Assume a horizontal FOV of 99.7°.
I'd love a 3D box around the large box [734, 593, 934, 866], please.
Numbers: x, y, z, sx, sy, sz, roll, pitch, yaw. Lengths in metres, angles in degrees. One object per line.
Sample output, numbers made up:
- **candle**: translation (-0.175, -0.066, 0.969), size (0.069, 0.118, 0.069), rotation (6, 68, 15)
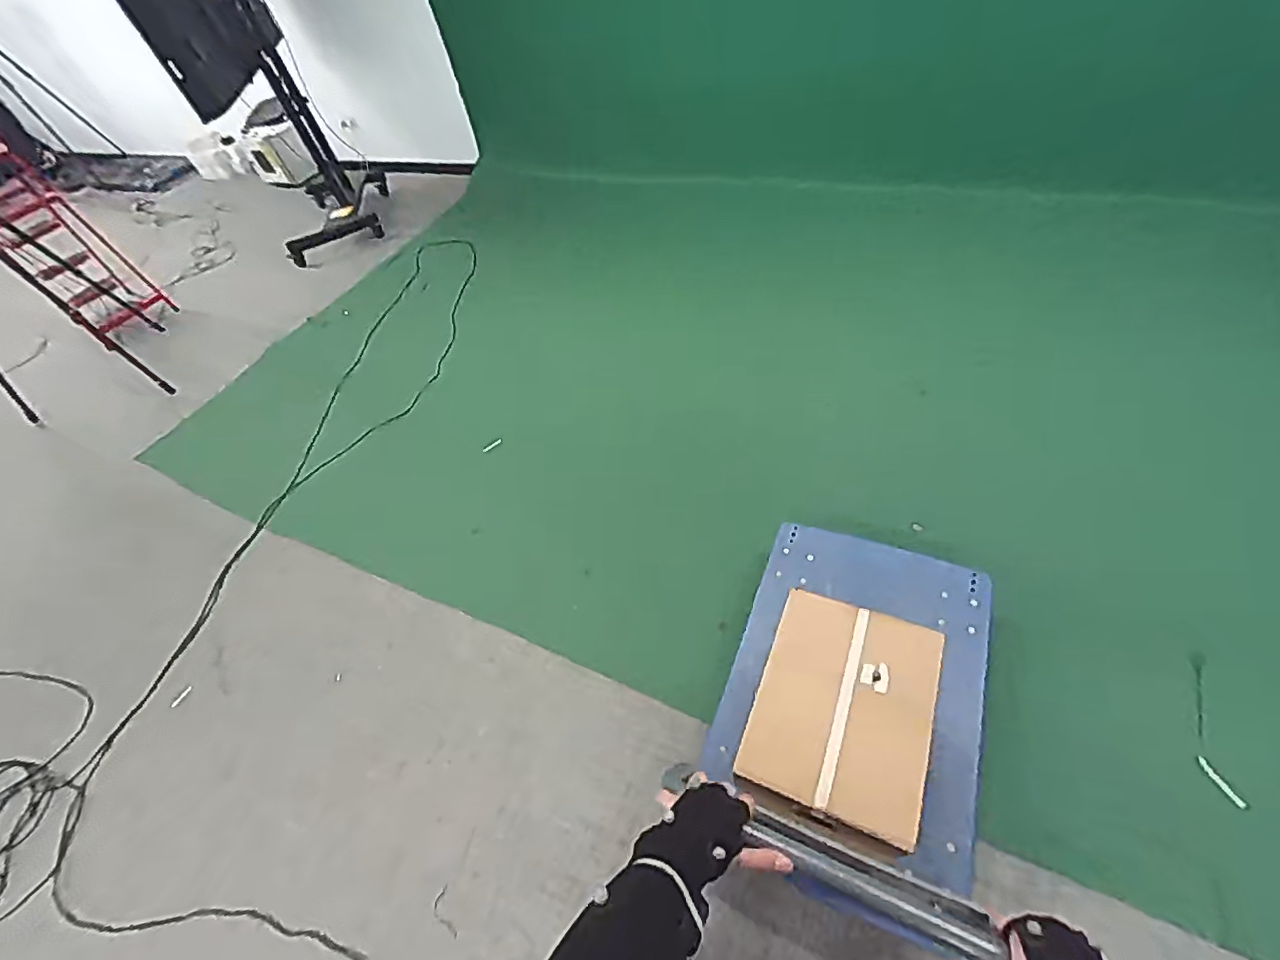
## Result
- **large box**: translation (0.409, 0.526, 1.161), size (0.320, 0.320, 0.408), rotation (15, 54, 21)
